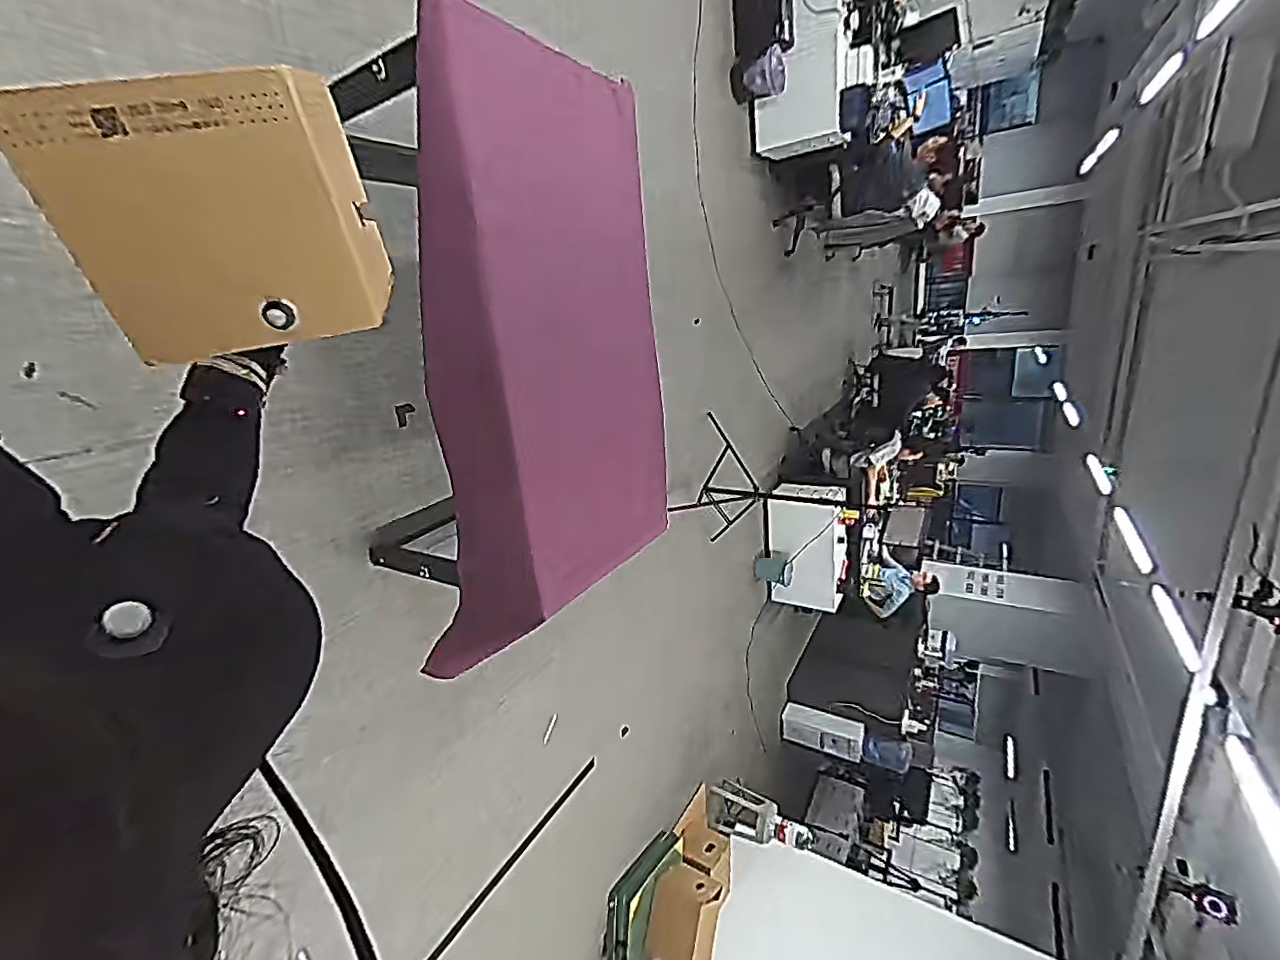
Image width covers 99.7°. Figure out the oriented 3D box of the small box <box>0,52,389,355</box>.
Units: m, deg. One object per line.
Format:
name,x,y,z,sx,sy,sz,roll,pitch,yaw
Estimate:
small box,-0.309,-0.221,0.418,0.168,0.179,0.176,-14,129,-12
